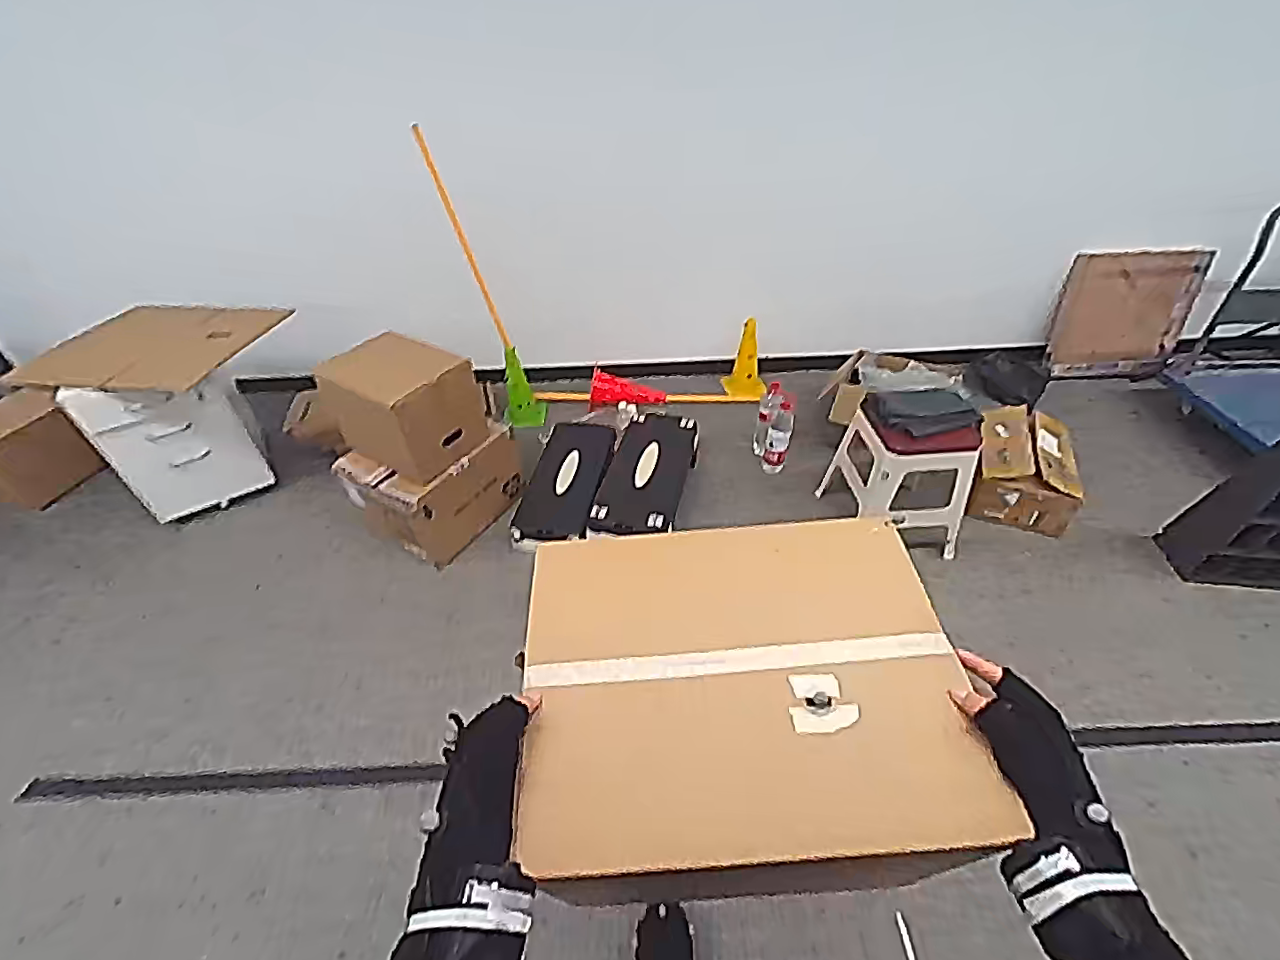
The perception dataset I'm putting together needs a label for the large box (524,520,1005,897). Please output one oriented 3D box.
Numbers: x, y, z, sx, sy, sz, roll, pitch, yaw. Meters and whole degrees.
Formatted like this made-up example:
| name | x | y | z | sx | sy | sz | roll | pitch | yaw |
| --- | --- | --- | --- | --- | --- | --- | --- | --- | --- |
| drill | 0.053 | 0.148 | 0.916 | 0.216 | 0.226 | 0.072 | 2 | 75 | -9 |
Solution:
| name | x | y | z | sx | sy | sz | roll | pitch | yaw |
| --- | --- | --- | --- | --- | --- | --- | --- | --- | --- |
| large box | 0.099 | 0.276 | 0.646 | 0.408 | 0.320 | 0.320 | -4 | 49 | 0 |
